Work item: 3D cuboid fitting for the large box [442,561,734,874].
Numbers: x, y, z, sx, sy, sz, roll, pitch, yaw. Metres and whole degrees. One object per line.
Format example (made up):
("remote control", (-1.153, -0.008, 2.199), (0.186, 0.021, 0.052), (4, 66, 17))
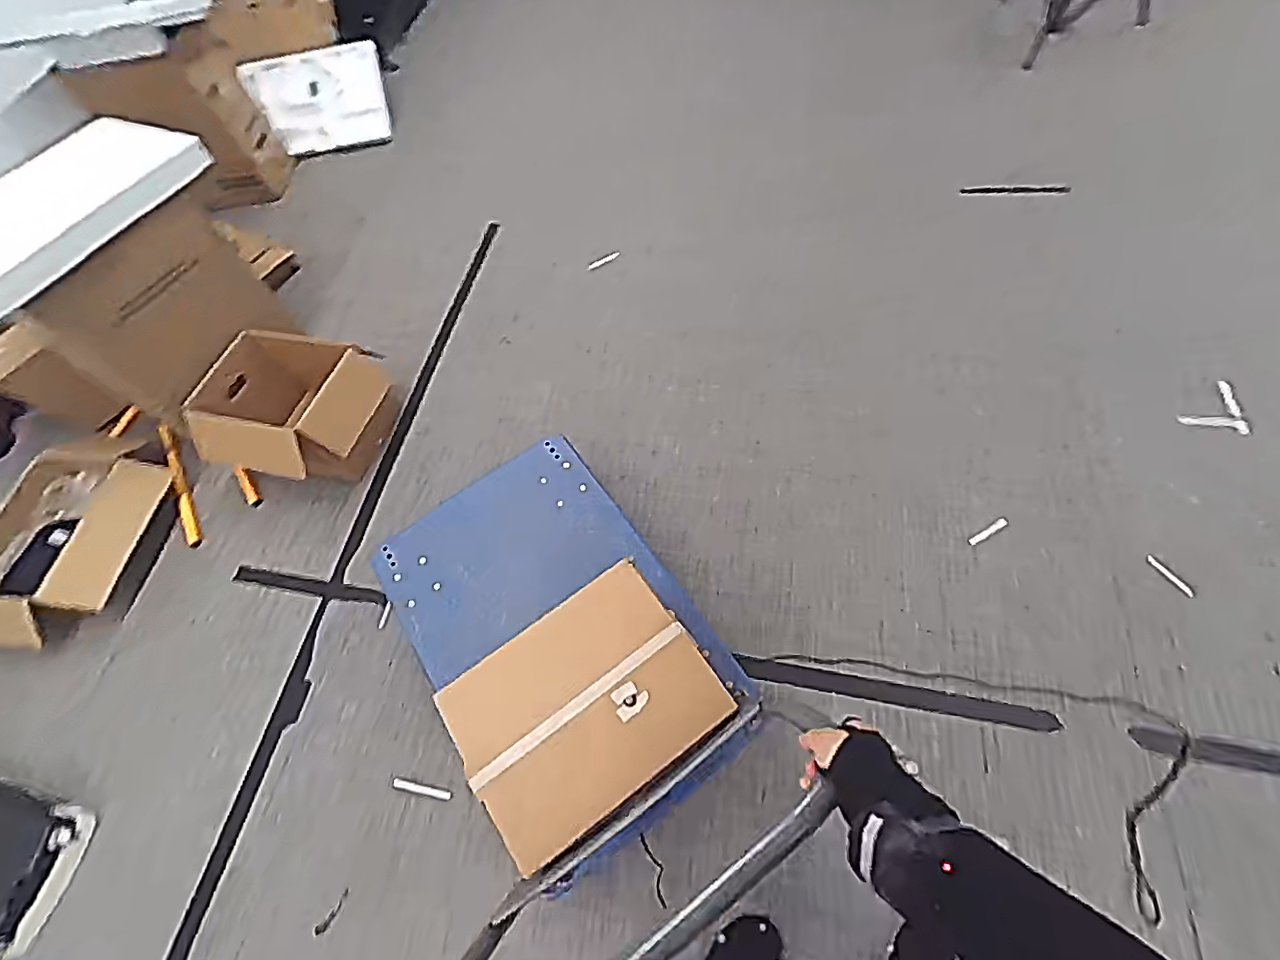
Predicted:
("large box", (-0.080, 0.431, 1.027), (0.408, 0.320, 0.320), (-35, 67, -11))
